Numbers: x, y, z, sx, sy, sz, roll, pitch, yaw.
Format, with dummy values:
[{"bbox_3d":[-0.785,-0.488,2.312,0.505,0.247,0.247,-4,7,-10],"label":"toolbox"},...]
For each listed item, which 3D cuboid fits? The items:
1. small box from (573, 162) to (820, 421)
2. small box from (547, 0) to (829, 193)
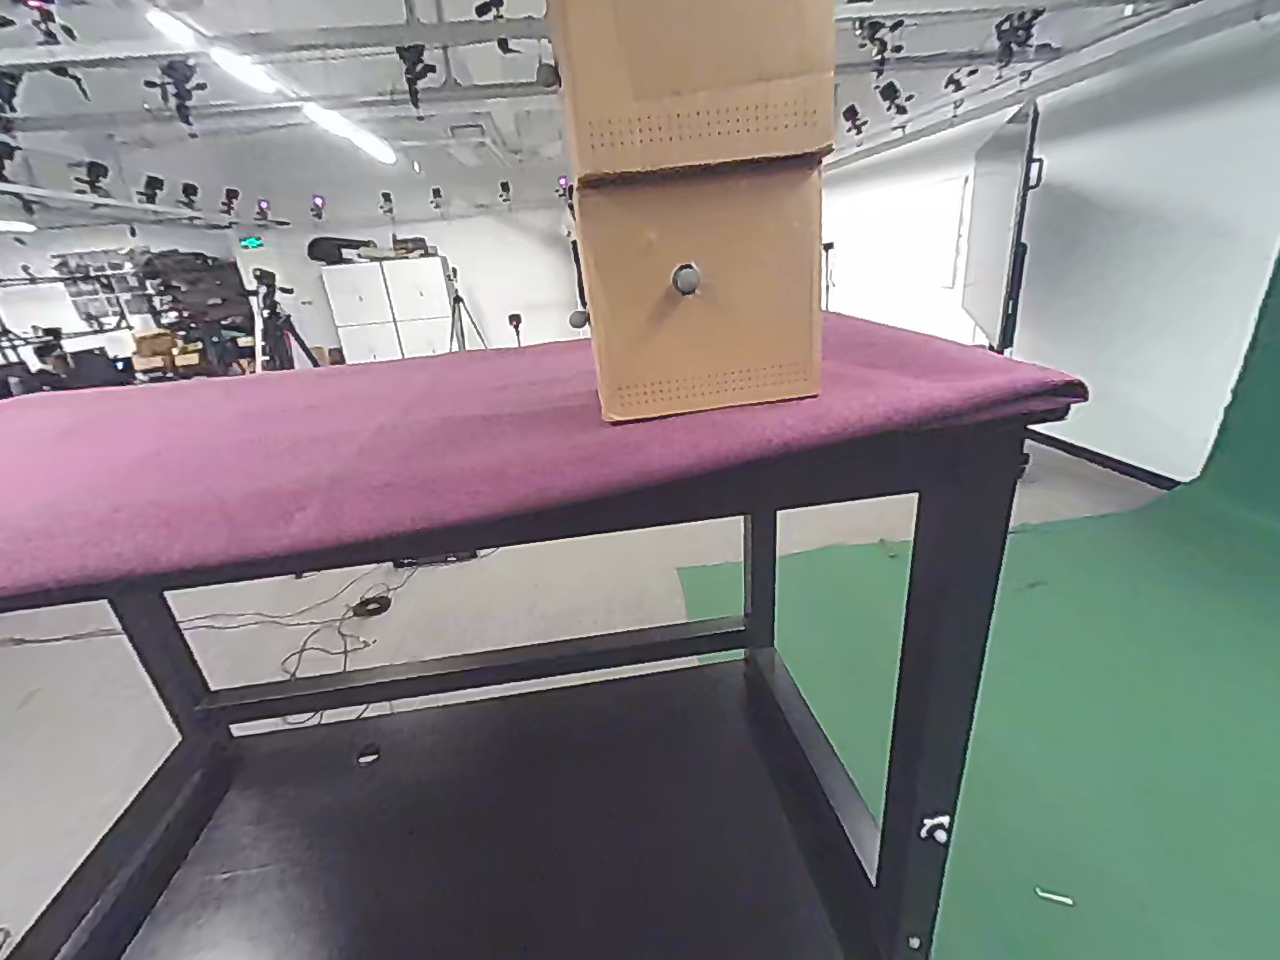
[{"bbox_3d":[0.043,-0.154,0.470,0.179,0.176,0.168,-8,20,-3],"label":"small box"},{"bbox_3d":[0.028,-0.302,0.402,0.179,0.176,0.168,-8,20,-4],"label":"small box"}]
